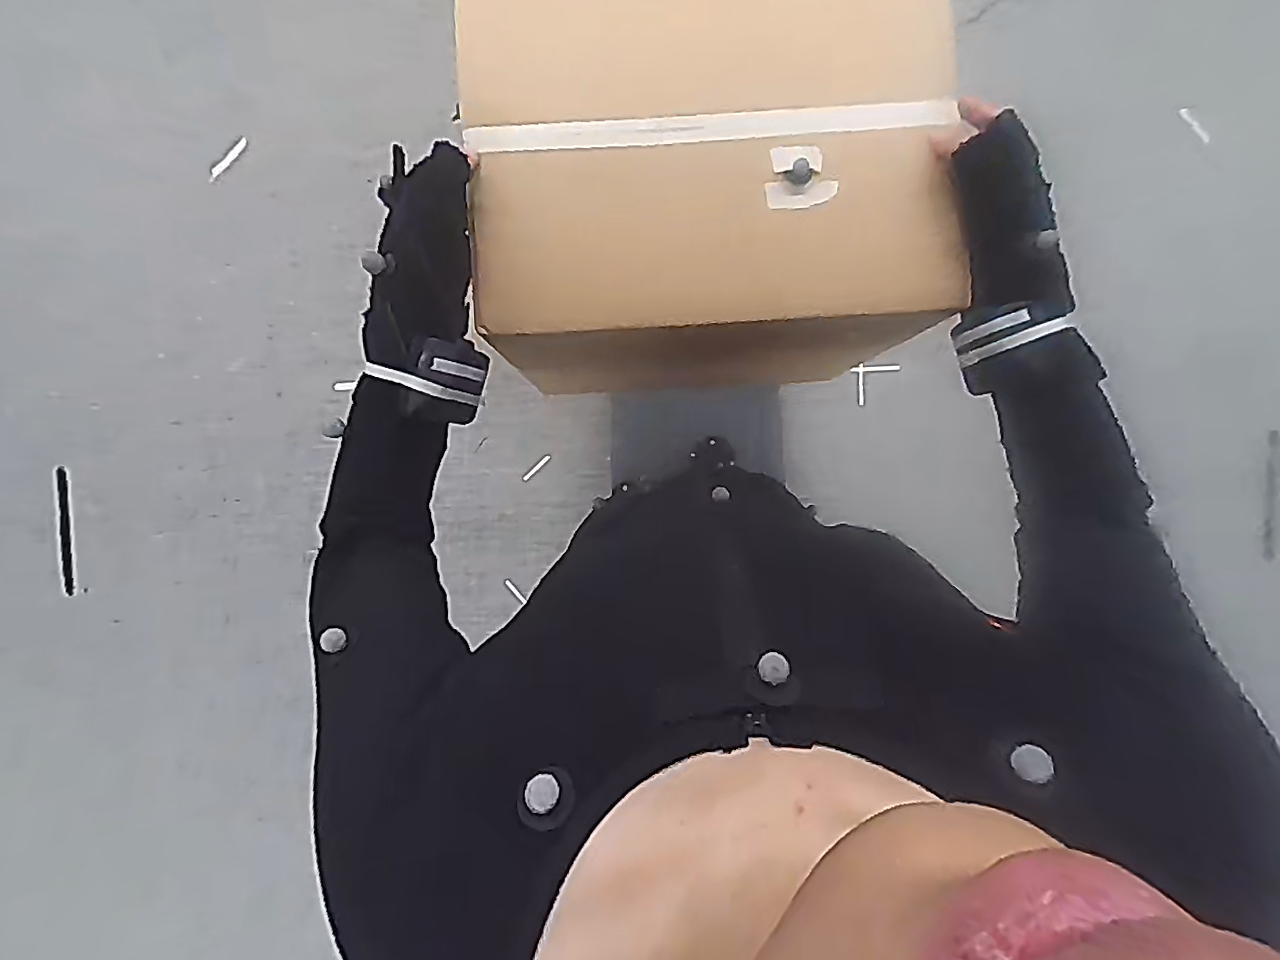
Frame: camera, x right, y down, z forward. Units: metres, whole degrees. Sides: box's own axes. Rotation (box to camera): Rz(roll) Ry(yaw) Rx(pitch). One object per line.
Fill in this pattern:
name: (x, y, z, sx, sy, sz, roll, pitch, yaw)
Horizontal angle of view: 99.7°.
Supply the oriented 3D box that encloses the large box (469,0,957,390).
large box: (0.058, -0.291, 0.605, 0.408, 0.320, 0.320, -3, 90, -1)
